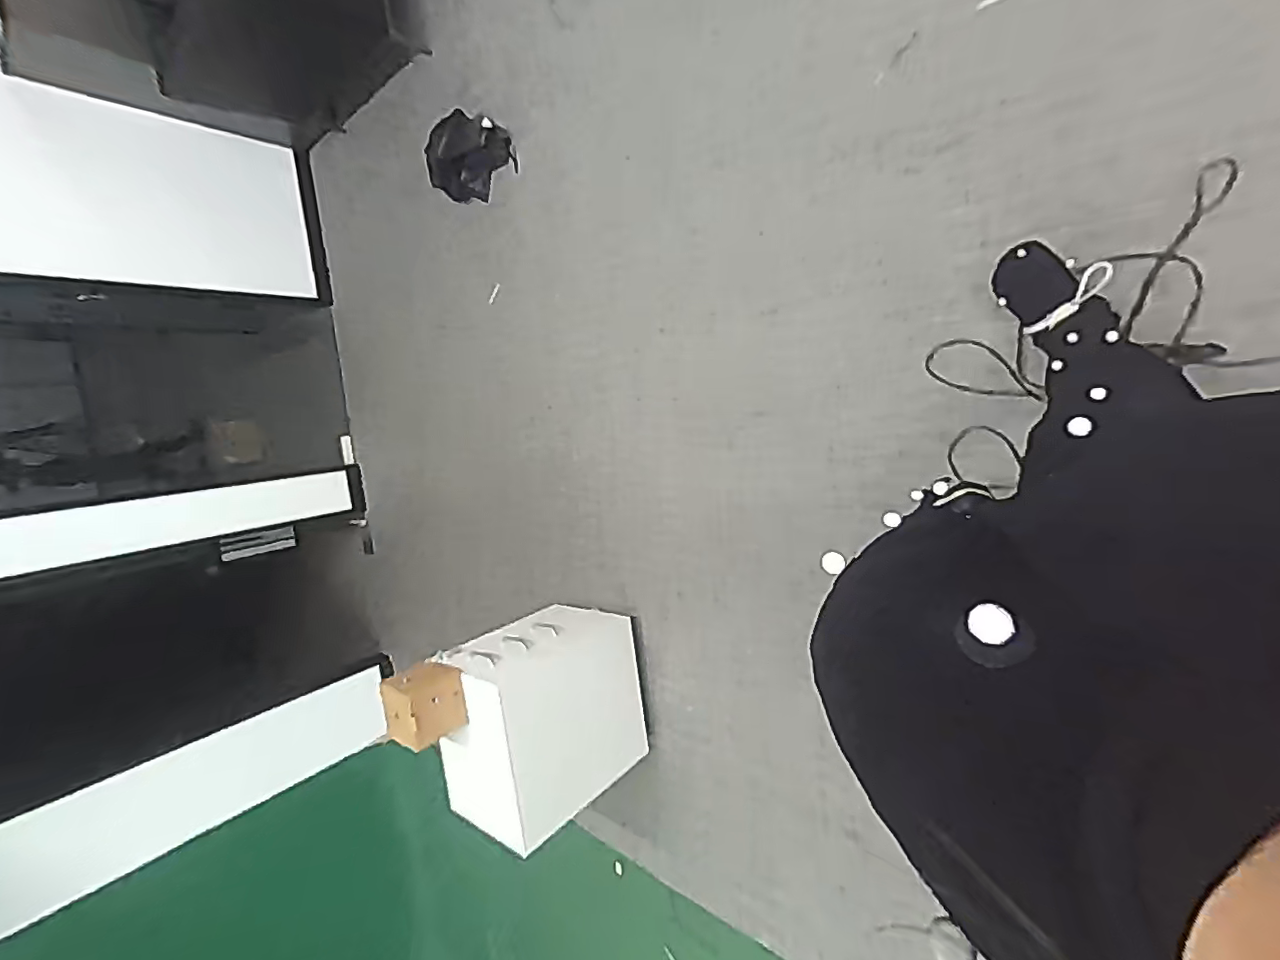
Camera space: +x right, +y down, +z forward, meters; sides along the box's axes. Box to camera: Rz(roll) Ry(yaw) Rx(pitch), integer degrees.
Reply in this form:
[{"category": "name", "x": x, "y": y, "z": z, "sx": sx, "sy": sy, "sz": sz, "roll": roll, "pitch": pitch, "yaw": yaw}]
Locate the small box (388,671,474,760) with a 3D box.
[{"category": "small box", "x": -0.603, "y": 0.678, "z": 1.581, "sx": 0.179, "sy": 0.176, "sz": 0.168, "roll": -4, "pitch": 96, "yaw": 41}]
